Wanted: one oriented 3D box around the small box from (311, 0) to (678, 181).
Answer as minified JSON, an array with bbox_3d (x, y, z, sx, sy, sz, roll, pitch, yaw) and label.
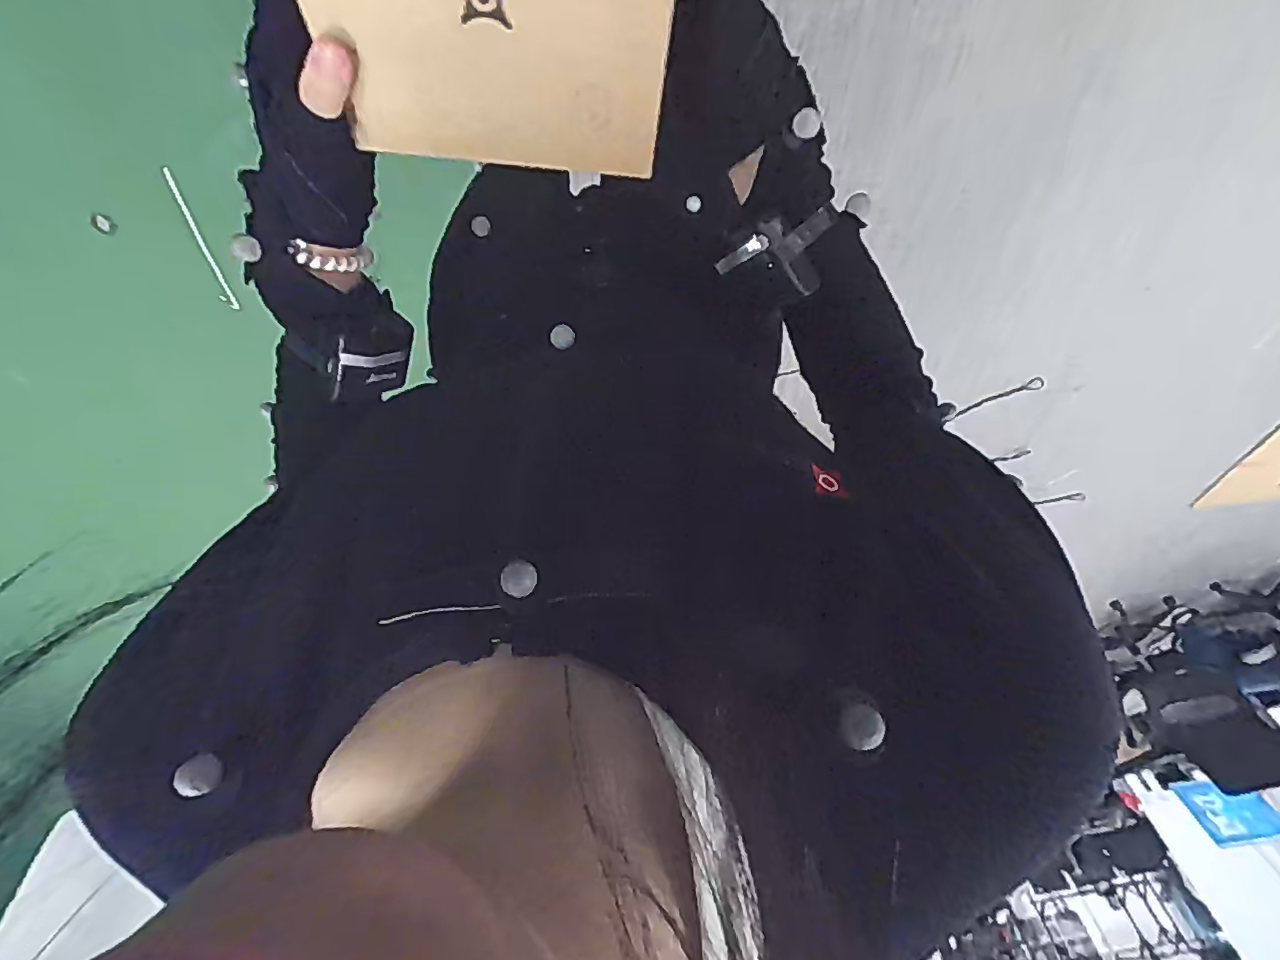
[{"bbox_3d":[-0.064,-0.290,0.269,0.168,0.176,0.179,1,155,-7],"label":"small box"}]
